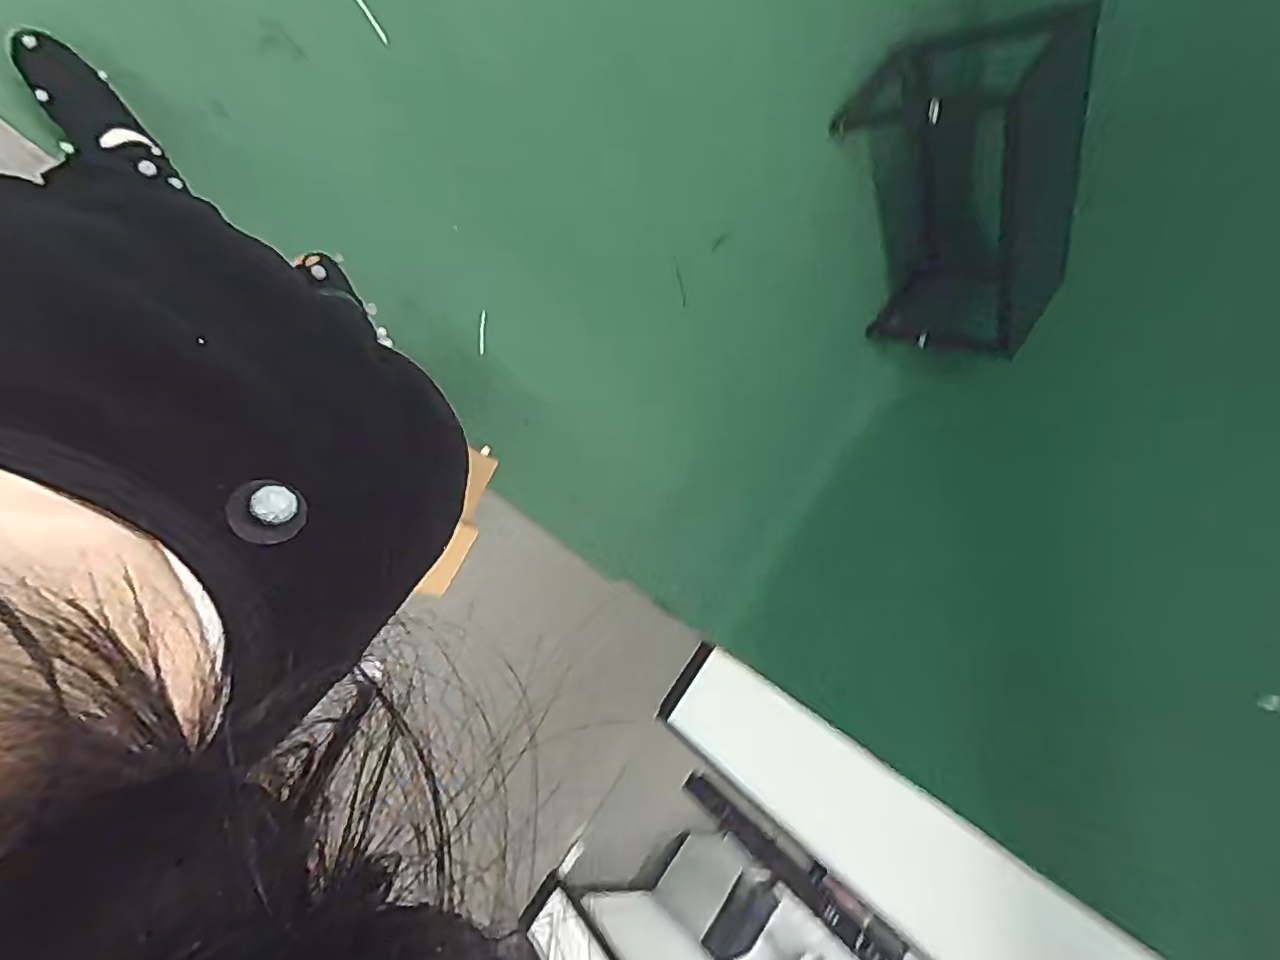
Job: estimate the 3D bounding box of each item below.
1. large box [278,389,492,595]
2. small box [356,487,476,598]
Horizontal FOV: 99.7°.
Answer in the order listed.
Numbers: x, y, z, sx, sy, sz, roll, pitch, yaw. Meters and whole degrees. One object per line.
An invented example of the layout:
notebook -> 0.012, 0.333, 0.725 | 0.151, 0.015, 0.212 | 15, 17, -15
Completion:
large box -> -0.662, 0.031, 1.398 | 0.320, 0.320, 0.408 | 29, 87, -48
small box -> -0.514, 0.137, 1.229 | 0.168, 0.176, 0.179 | 33, 86, -45
